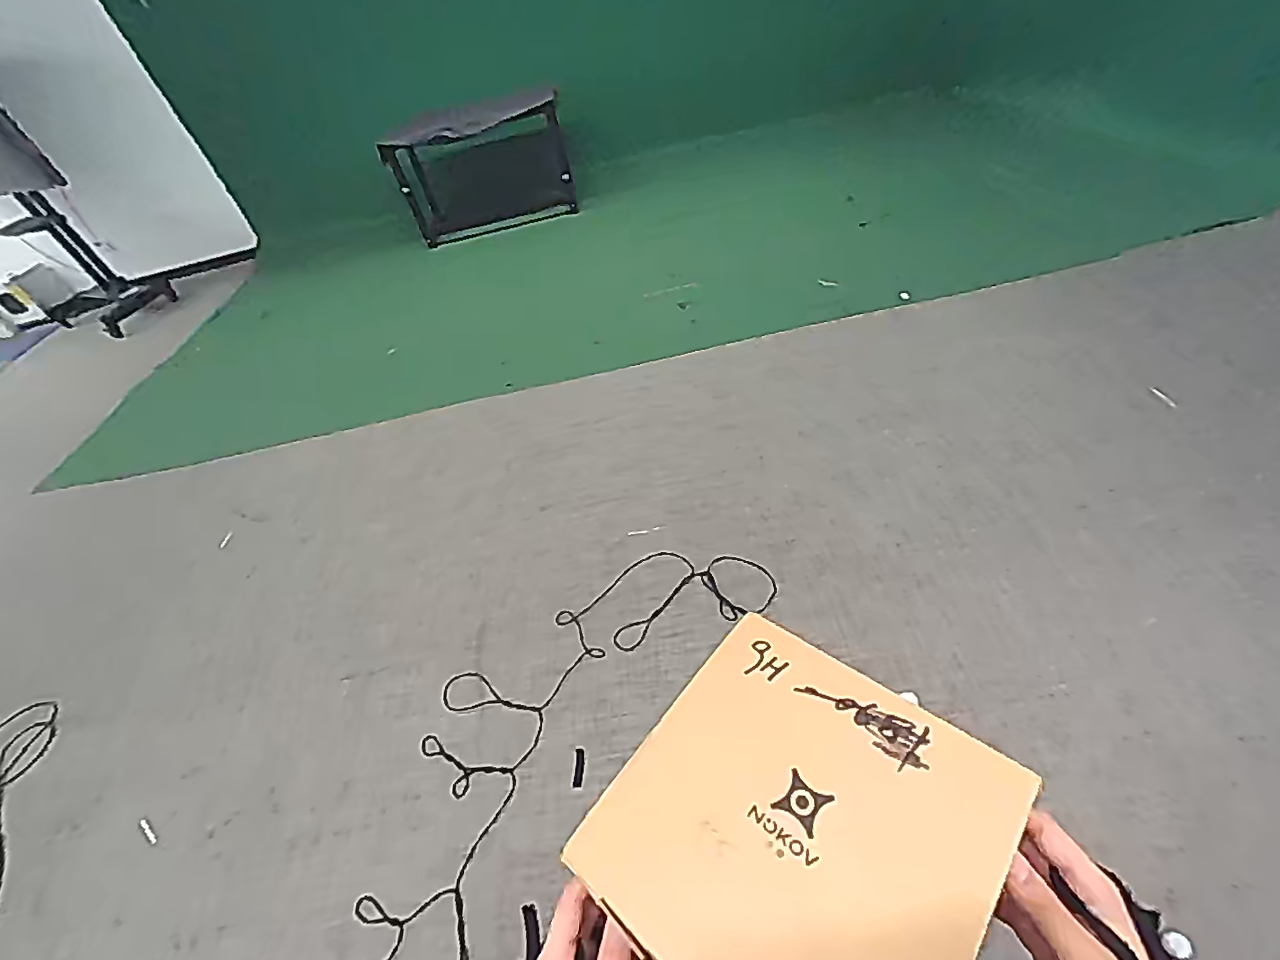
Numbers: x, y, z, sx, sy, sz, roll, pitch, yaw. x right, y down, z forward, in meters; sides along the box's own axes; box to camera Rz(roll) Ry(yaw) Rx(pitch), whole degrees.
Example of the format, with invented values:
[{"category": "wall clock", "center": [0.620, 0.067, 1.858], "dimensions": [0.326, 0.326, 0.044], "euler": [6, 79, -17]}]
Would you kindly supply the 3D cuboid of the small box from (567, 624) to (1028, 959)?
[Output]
[{"category": "small box", "center": [0.092, 0.230, 0.323], "dimensions": [0.168, 0.176, 0.179], "euler": [25, 57, 36]}]
